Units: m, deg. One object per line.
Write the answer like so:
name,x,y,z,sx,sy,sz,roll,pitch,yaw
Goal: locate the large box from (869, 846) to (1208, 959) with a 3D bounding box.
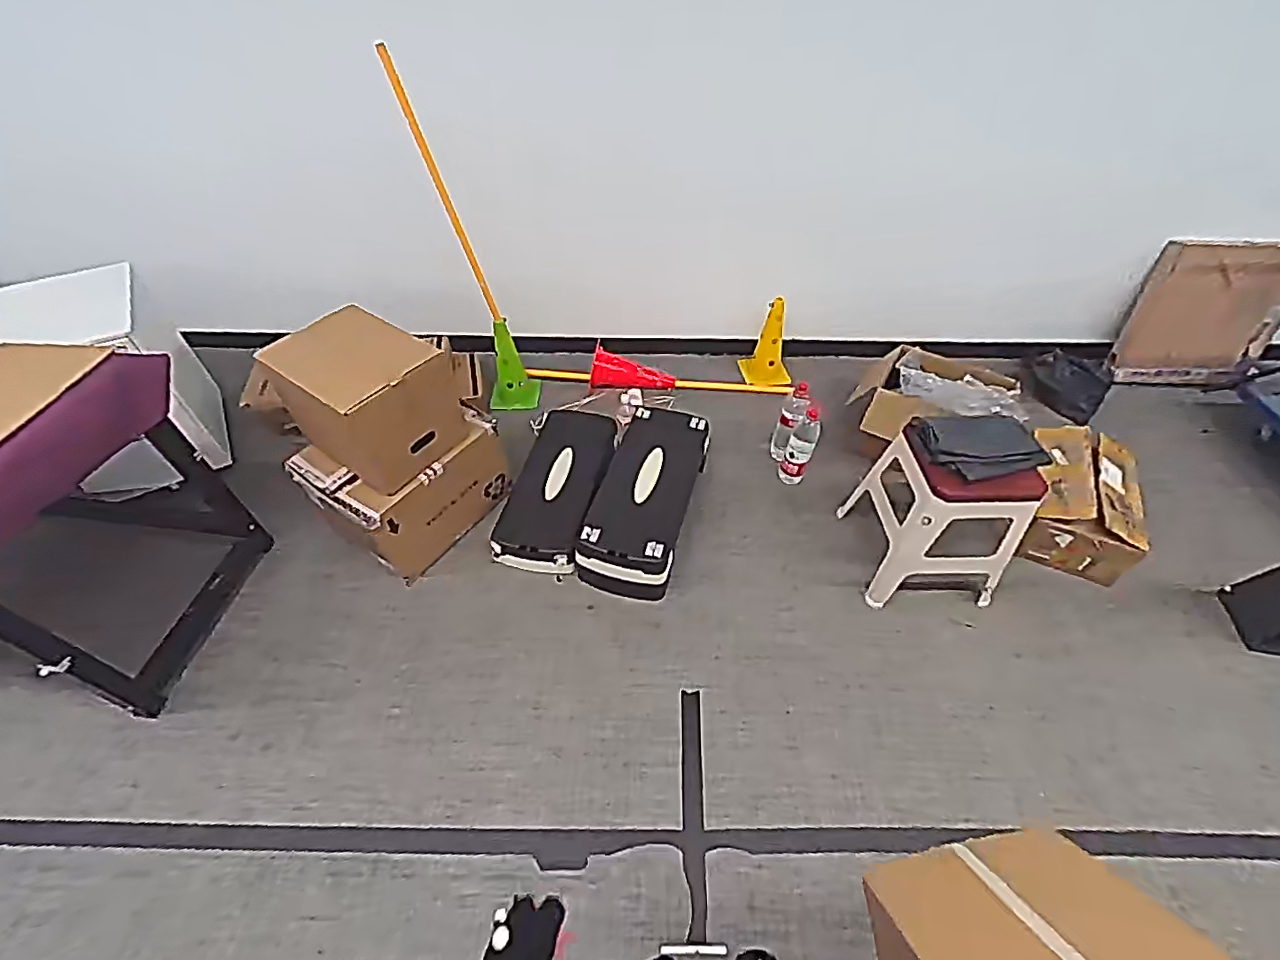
large box,0.527,0.724,0.625,0.320,0.408,0.320,-10,87,-3
